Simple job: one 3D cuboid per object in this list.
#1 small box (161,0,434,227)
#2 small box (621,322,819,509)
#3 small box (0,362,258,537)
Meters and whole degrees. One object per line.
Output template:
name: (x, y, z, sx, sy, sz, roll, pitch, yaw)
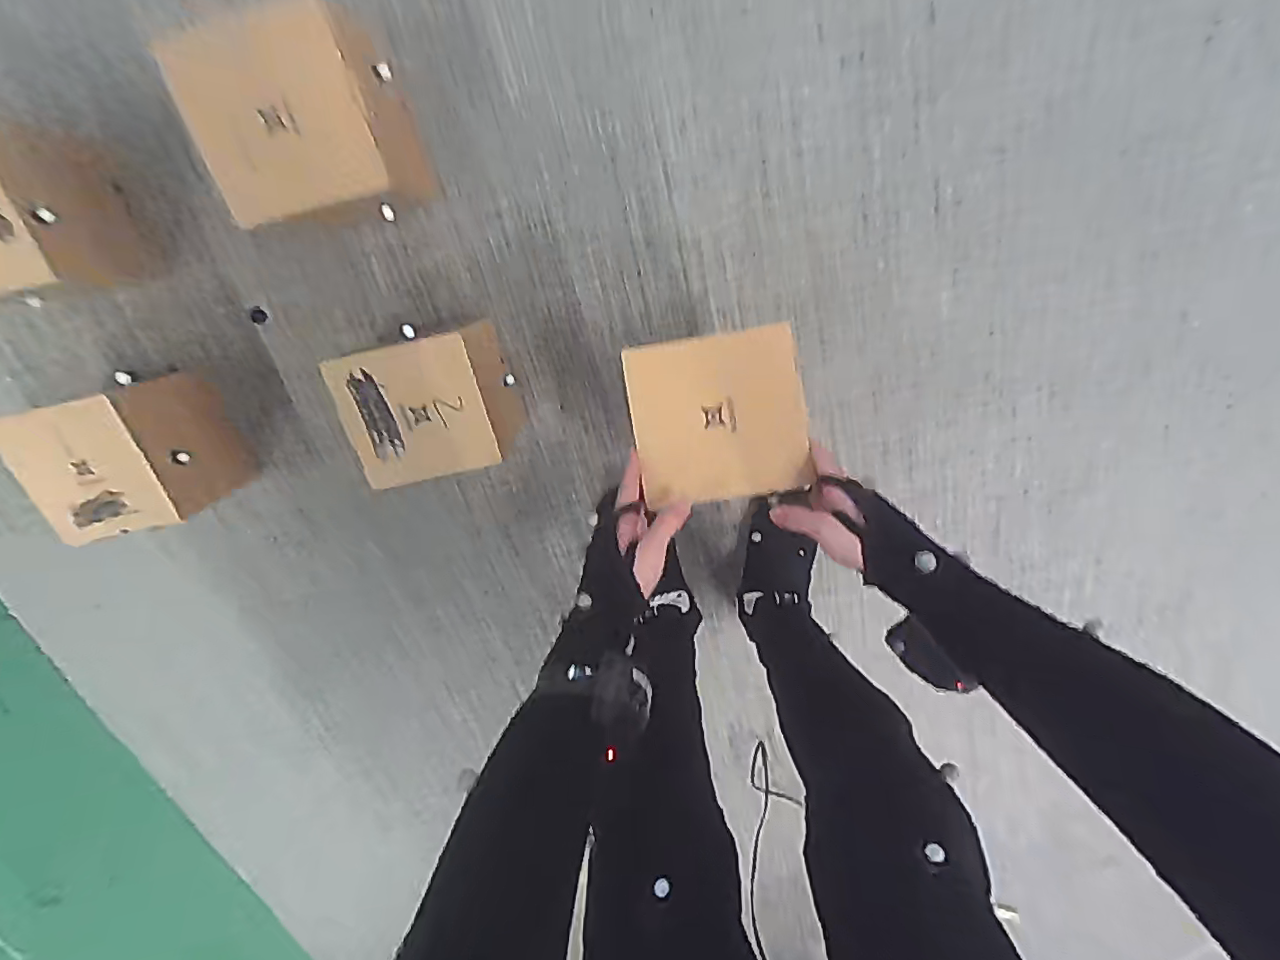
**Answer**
small box: (-0.353, -0.393, 0.607, 0.179, 0.176, 0.168, -13, 112, 4)
small box: (0.080, -0.059, 0.611, 0.179, 0.176, 0.168, -9, 86, 0)
small box: (-0.680, -0.049, 0.742, 0.168, 0.176, 0.179, -12, 112, 3)
